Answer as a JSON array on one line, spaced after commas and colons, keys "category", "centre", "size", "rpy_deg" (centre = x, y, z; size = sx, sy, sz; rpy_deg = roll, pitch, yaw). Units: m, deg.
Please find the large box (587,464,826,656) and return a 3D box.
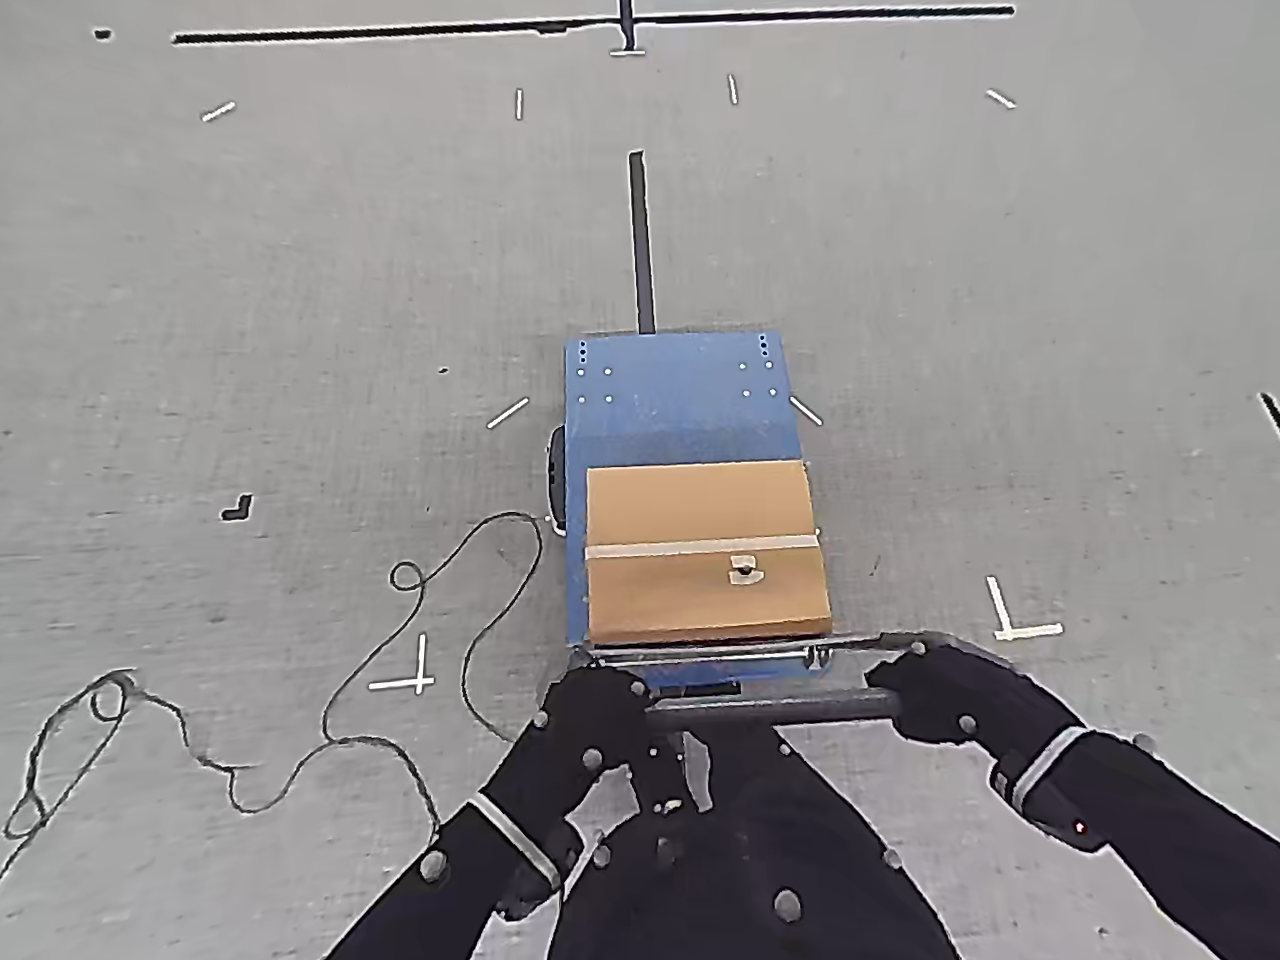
[{"category": "large box", "centre": [0.105, 0.176, 1.102], "size": [0.408, 0.320, 0.320], "rpy_deg": [-3, 70, -3]}]
